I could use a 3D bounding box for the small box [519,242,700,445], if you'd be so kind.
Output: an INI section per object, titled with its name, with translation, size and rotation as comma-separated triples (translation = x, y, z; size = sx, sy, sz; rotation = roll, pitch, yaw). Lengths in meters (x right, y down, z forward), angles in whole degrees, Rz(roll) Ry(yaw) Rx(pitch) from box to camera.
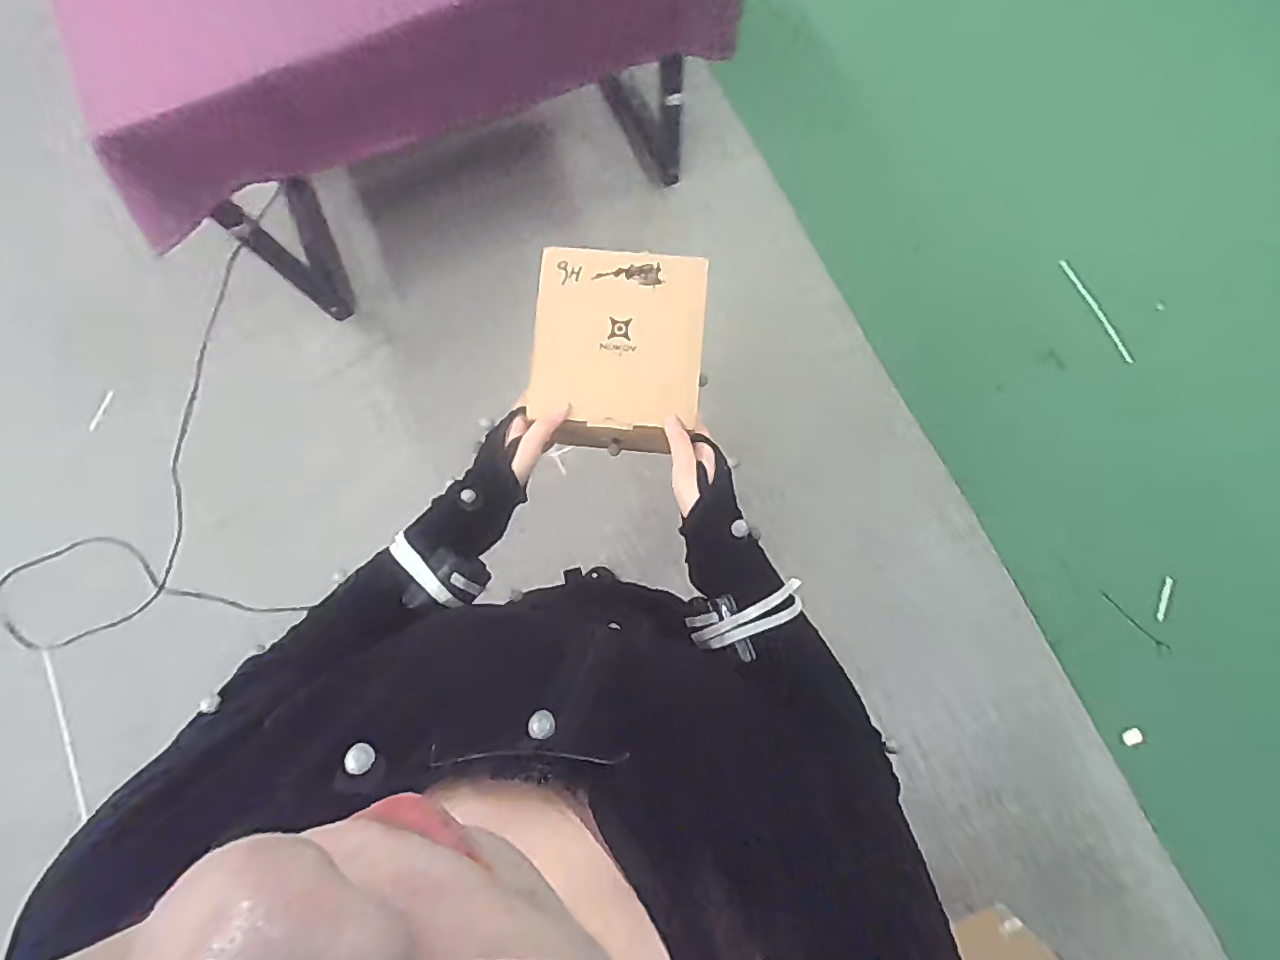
[small box]
translation = -0.026, -0.137, 0.603
size = 0.168, 0.176, 0.179
rotation = 5, 86, 2
